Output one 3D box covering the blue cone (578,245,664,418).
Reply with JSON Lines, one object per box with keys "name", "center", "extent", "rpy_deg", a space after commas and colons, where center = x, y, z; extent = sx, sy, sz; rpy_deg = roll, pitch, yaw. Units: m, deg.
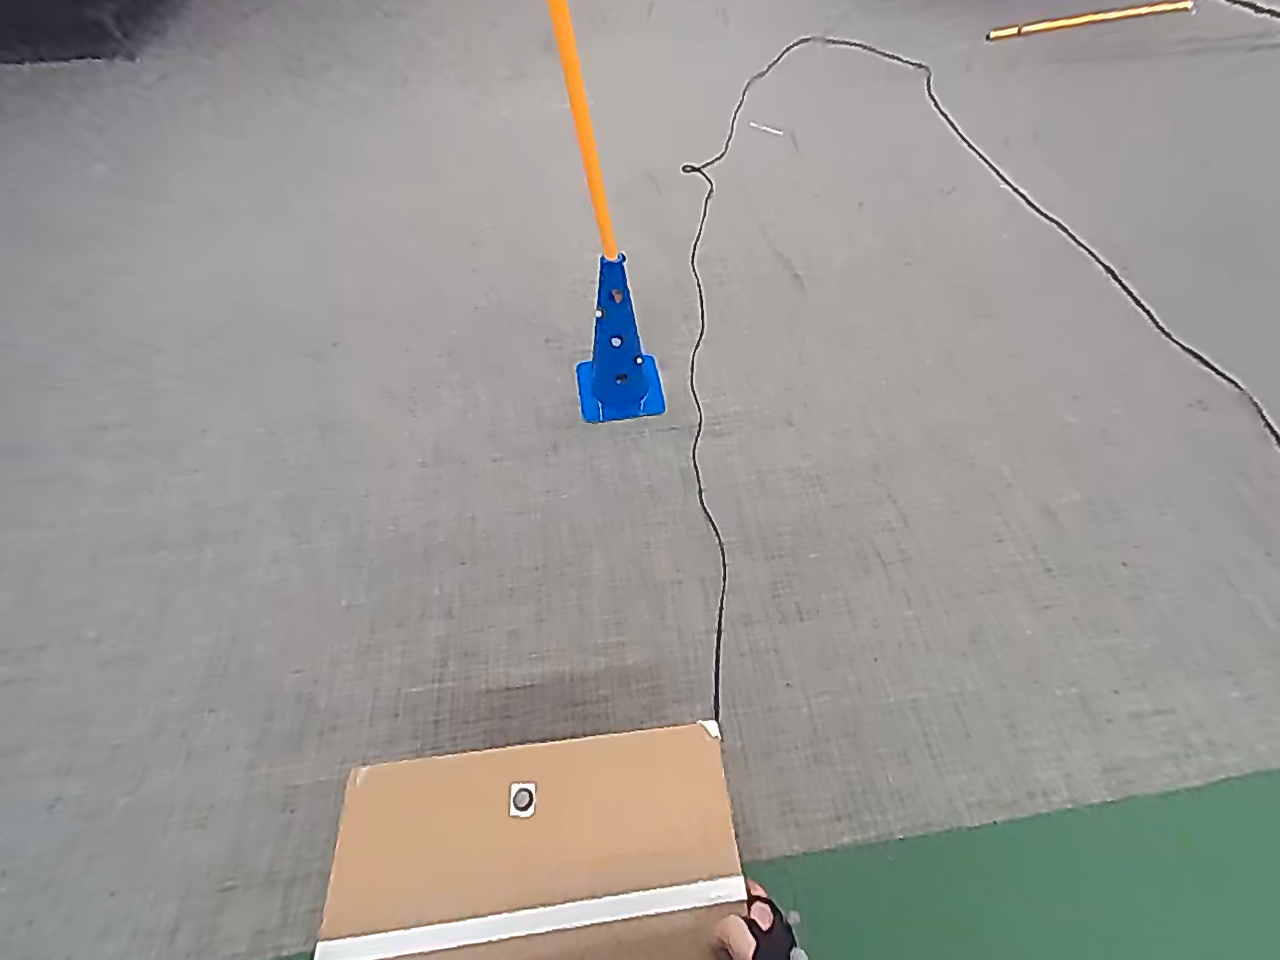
{"name": "blue cone", "center": [-0.052, -0.319, 1.162], "extent": [0.193, 0.380, 0.192], "rpy_deg": [-10, 56, -5]}
